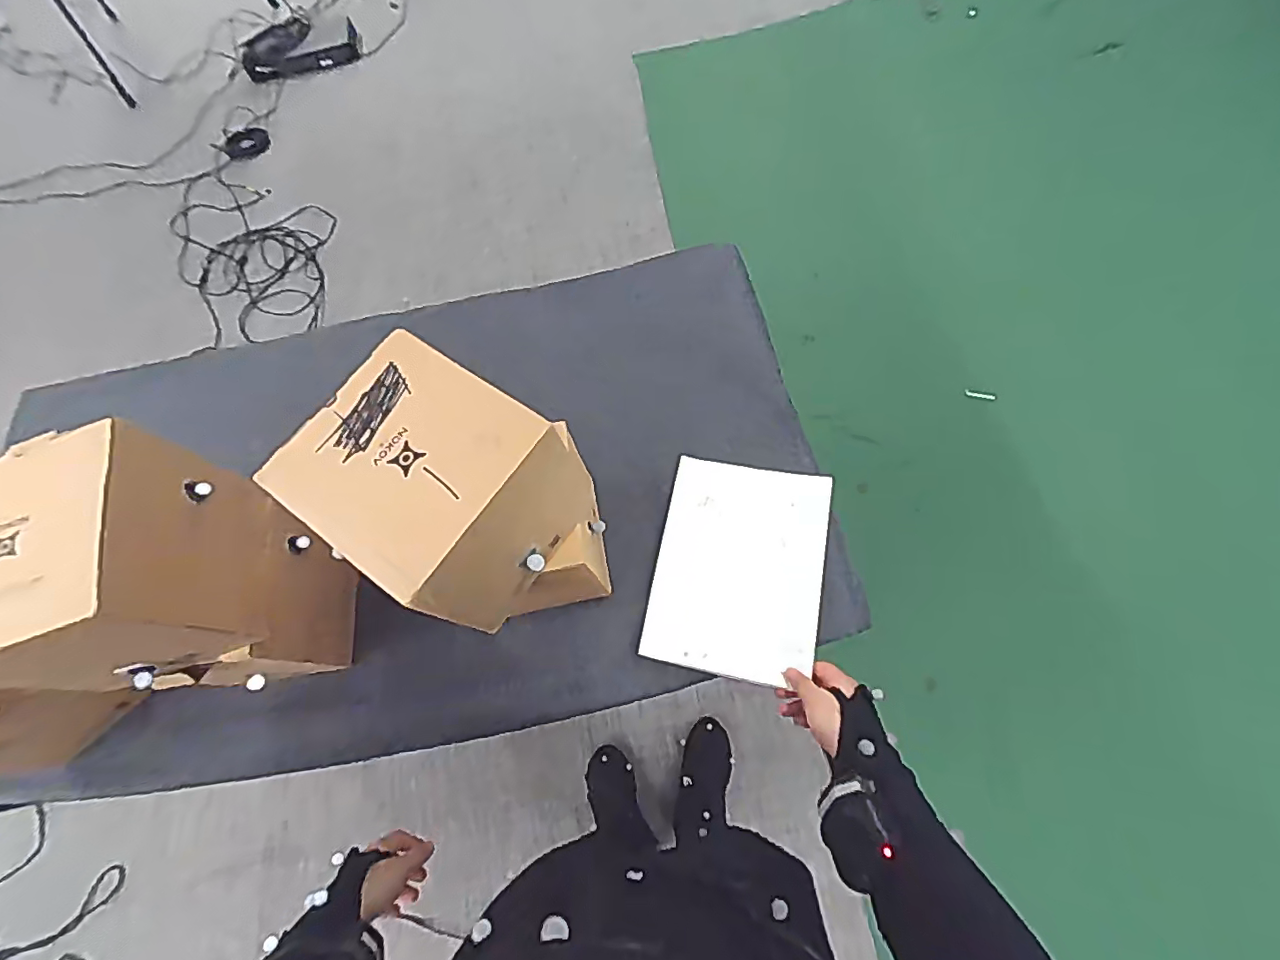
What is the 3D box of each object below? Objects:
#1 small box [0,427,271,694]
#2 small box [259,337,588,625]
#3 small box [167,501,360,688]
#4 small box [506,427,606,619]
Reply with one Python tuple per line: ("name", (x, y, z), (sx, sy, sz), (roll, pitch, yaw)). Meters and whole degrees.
("small box", (-0.478, 0.085, 0.497), (0.168, 0.176, 0.179), (-20, 67, 0))
("small box", (-0.173, 0.013, 0.486), (0.179, 0.176, 0.168), (32, 76, 18))
("small box", (-0.462, 0.144, 0.647), (0.168, 0.176, 0.179), (-10, 67, 4))
("small box", (-0.142, 0.062, 0.640), (0.179, 0.176, 0.168), (-13, 67, 3))
